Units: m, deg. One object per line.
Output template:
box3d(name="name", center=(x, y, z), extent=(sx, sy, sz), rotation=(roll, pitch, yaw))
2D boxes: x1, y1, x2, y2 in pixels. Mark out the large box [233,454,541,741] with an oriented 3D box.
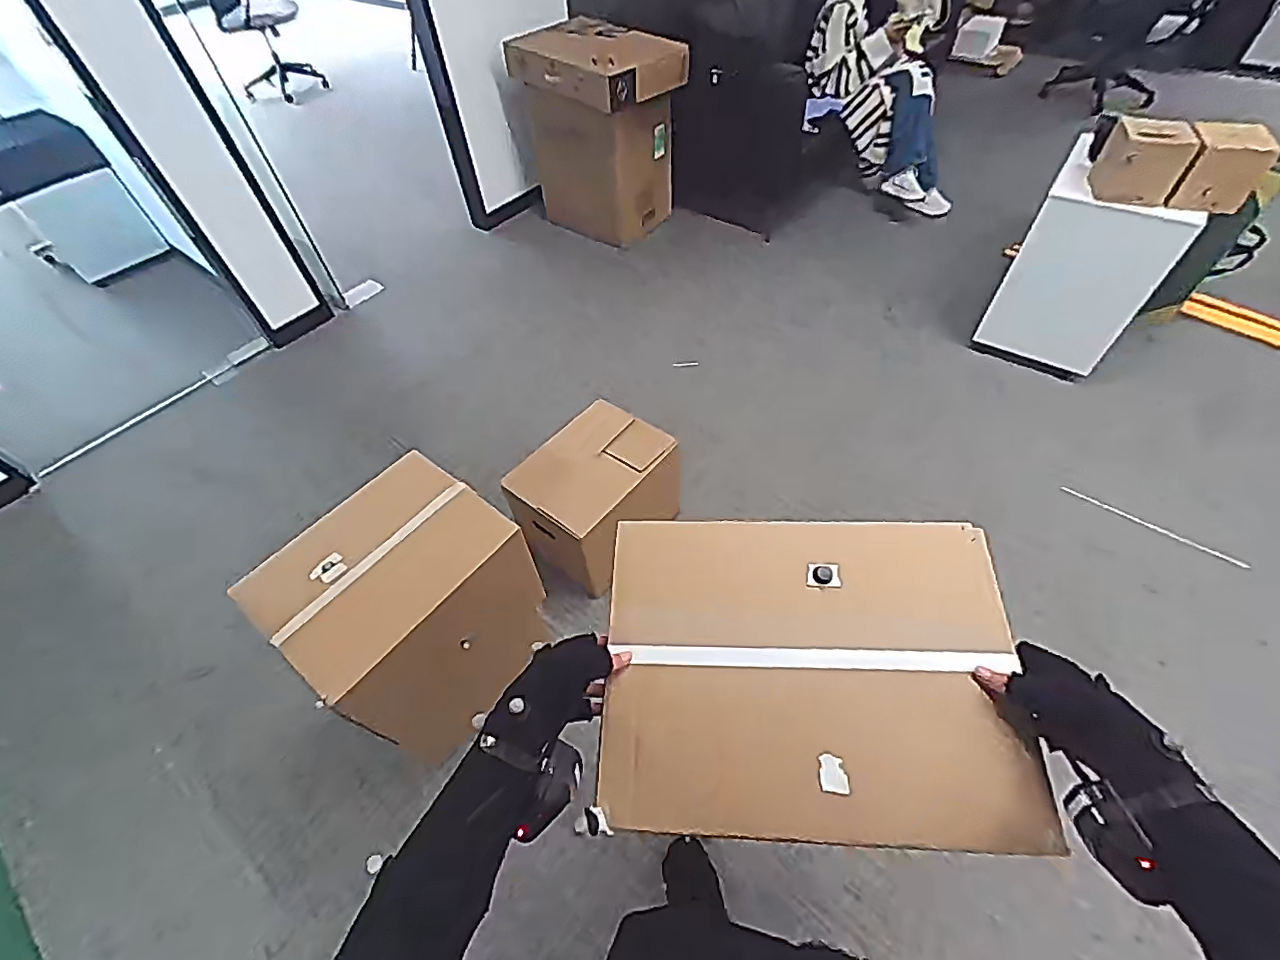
box3d(name="large box", center=(-0.461, 0.231, 1.084), extent=(0.320, 0.320, 0.408), rotation=(32, 61, 22))
